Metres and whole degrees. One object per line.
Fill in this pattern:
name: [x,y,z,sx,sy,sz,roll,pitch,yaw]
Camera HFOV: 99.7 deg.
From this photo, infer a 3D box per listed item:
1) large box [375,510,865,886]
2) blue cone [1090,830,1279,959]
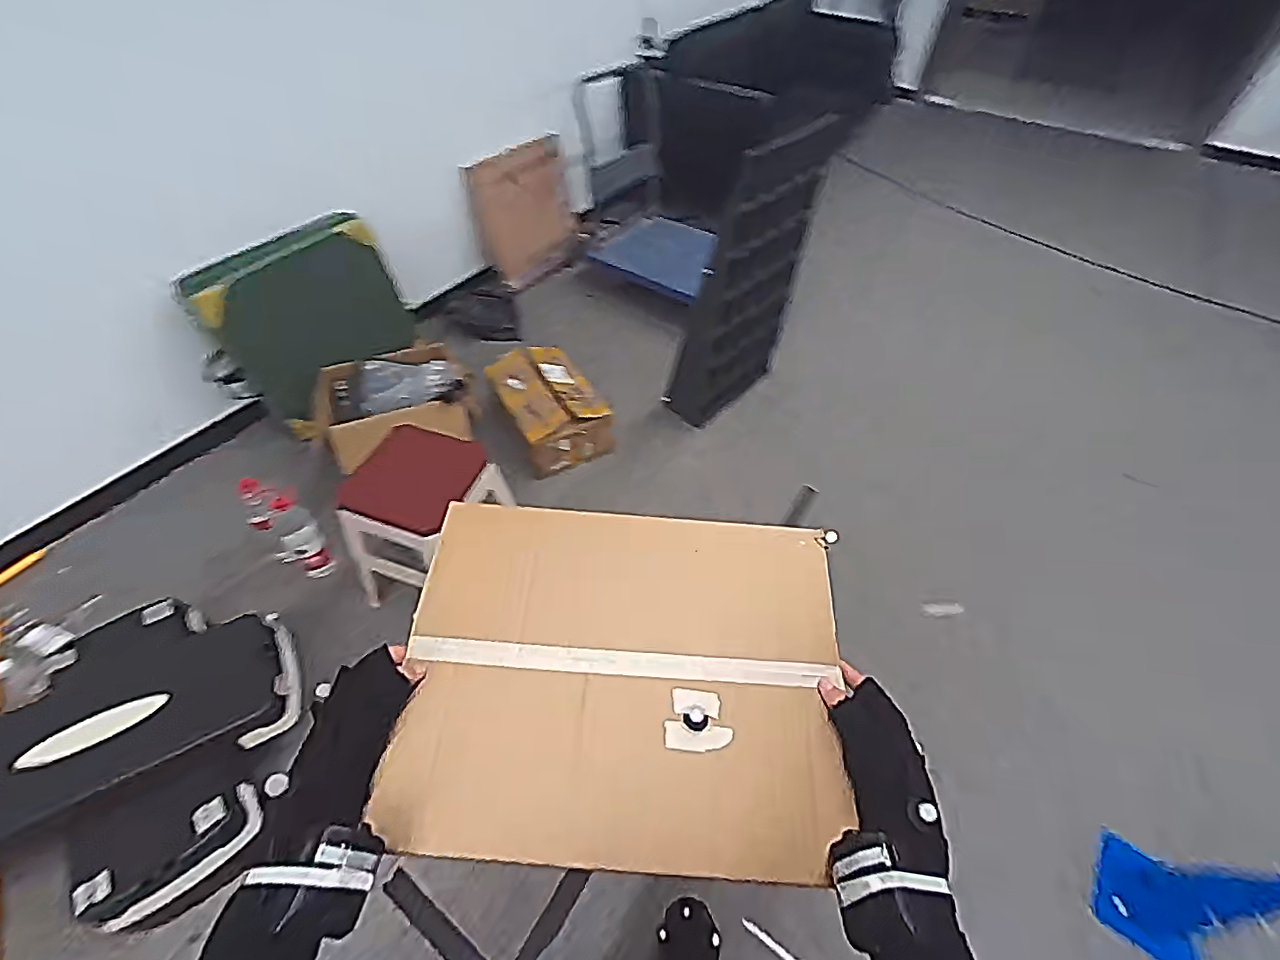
large box: [-0.013,0.257,0.634,0.408,0.320,0.320,6,58,1]
blue cone: [1.124,0.813,1.086,0.193,0.380,0.192,31,54,22]
